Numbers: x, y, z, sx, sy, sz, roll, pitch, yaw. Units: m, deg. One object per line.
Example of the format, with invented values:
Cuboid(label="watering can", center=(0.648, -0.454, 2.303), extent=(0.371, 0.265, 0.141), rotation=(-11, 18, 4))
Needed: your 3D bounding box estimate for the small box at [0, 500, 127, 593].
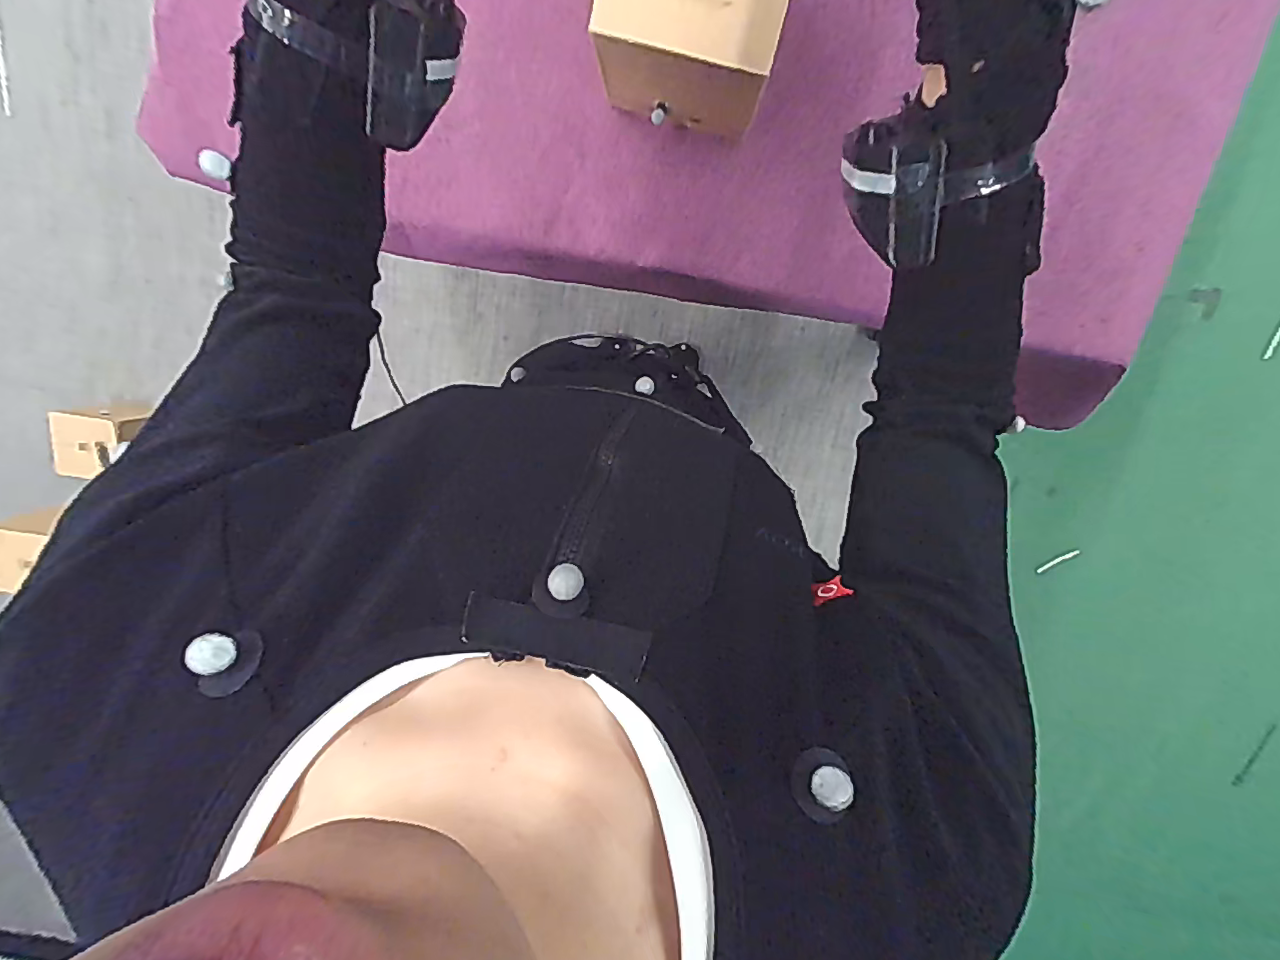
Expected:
Cuboid(label="small box", center=(-1.439, 0.158, 1.342), extent=(0.179, 0.176, 0.168), rotation=(10, 105, 1))

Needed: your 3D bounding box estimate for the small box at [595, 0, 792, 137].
Cuboid(label="small box", center=(0.063, -0.479, 0.531), extent=(0.168, 0.176, 0.179), rotation=(15, 105, -1))

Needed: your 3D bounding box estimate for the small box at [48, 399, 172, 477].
Cuboid(label="small box", center=(-1.390, -0.117, 1.435), extent=(0.179, 0.176, 0.168), rotation=(9, 104, 1))
